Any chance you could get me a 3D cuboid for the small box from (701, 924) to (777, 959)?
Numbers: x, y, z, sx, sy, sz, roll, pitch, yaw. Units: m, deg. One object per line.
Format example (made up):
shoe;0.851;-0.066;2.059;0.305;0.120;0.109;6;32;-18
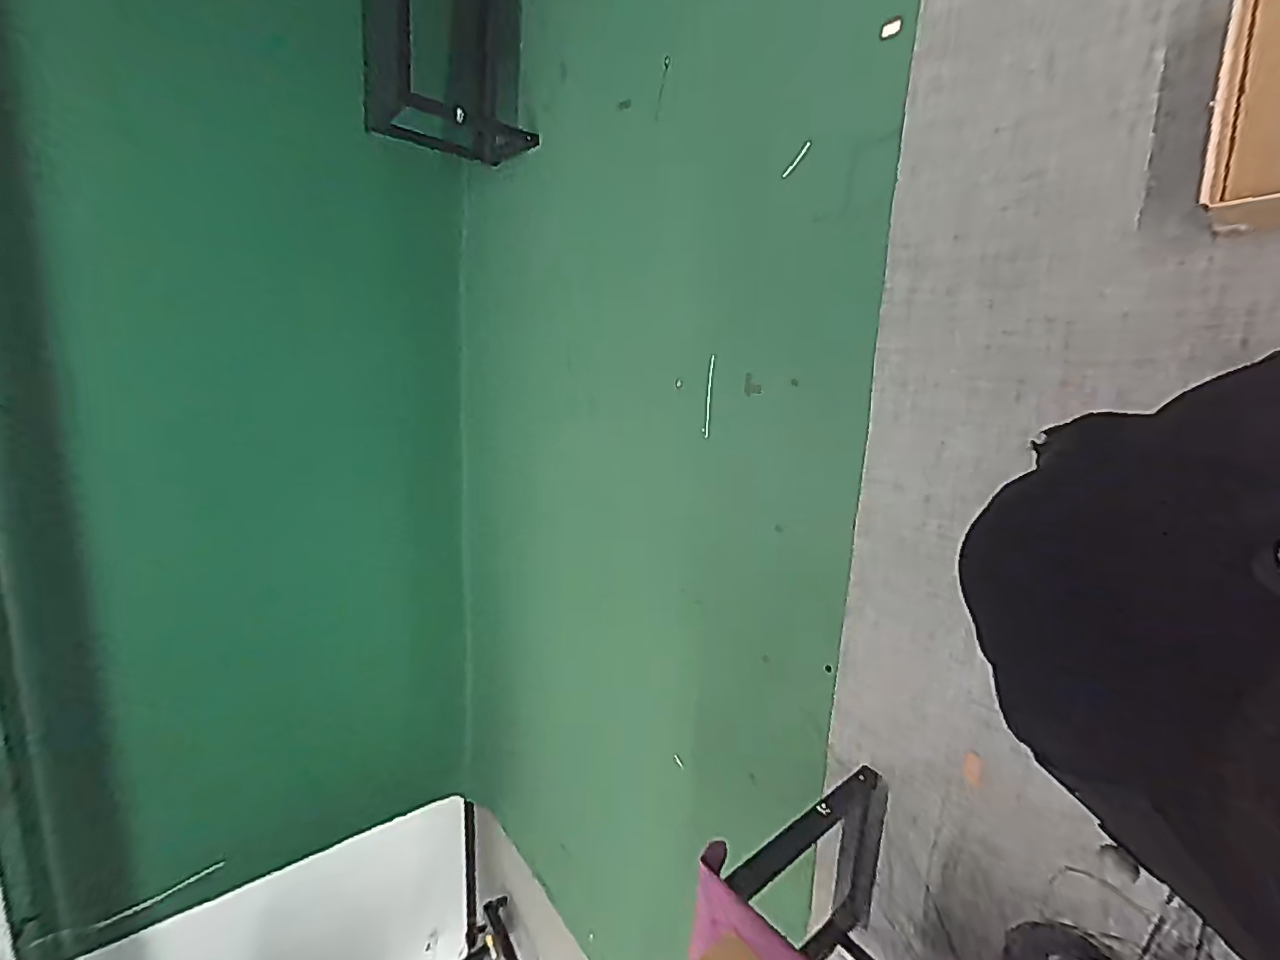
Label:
small box;0.207;1.049;1.072;0.179;0.176;0.168;14;105;50
